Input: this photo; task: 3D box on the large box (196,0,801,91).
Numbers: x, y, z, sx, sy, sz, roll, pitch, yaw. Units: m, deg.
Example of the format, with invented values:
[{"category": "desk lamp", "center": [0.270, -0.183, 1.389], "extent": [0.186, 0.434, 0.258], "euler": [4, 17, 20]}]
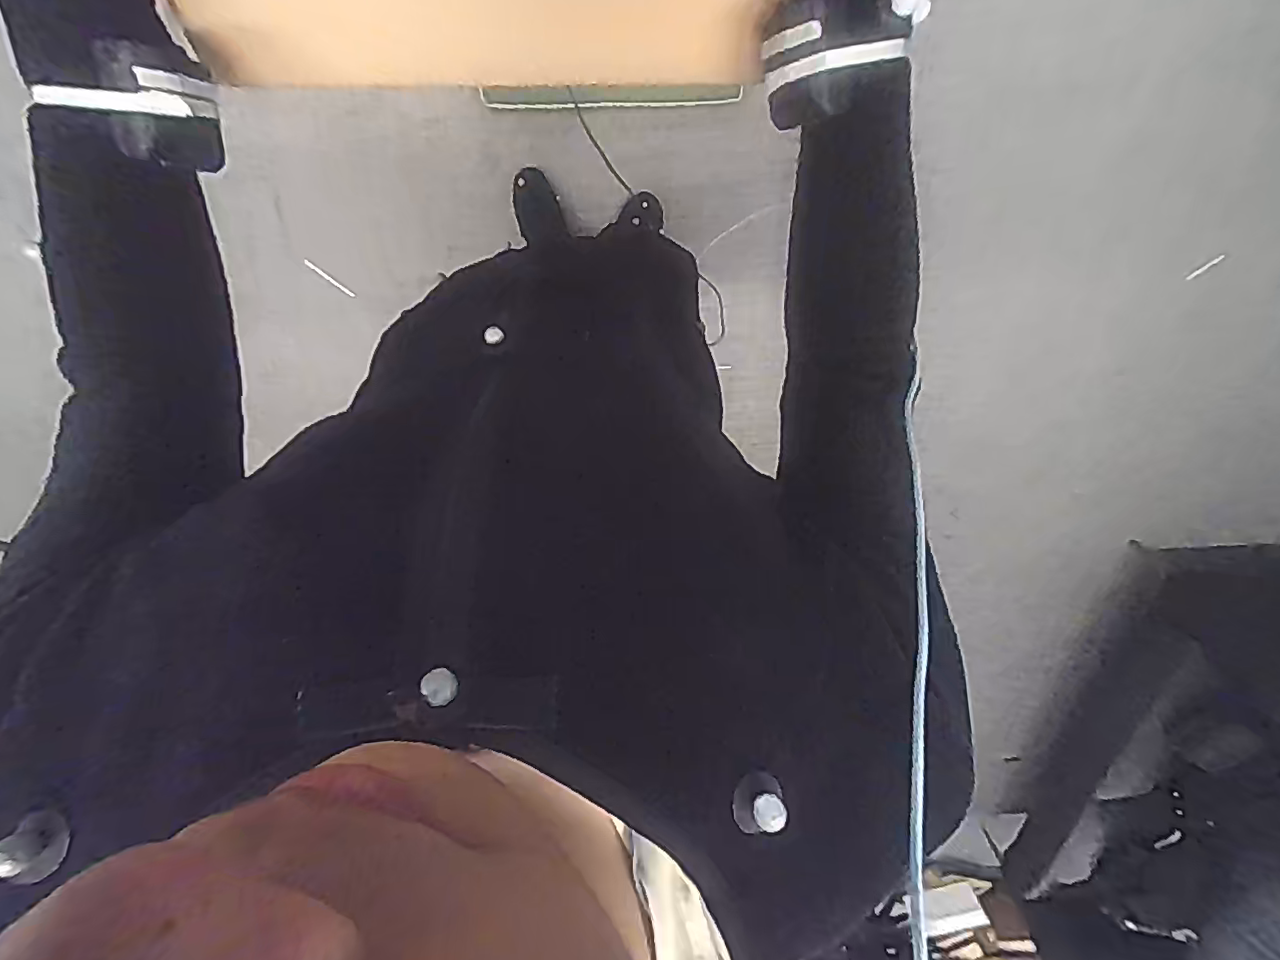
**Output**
[{"category": "large box", "center": [-0.099, -0.500, 0.367], "extent": [0.408, 0.320, 0.320], "euler": [-2, 142, -1]}]
